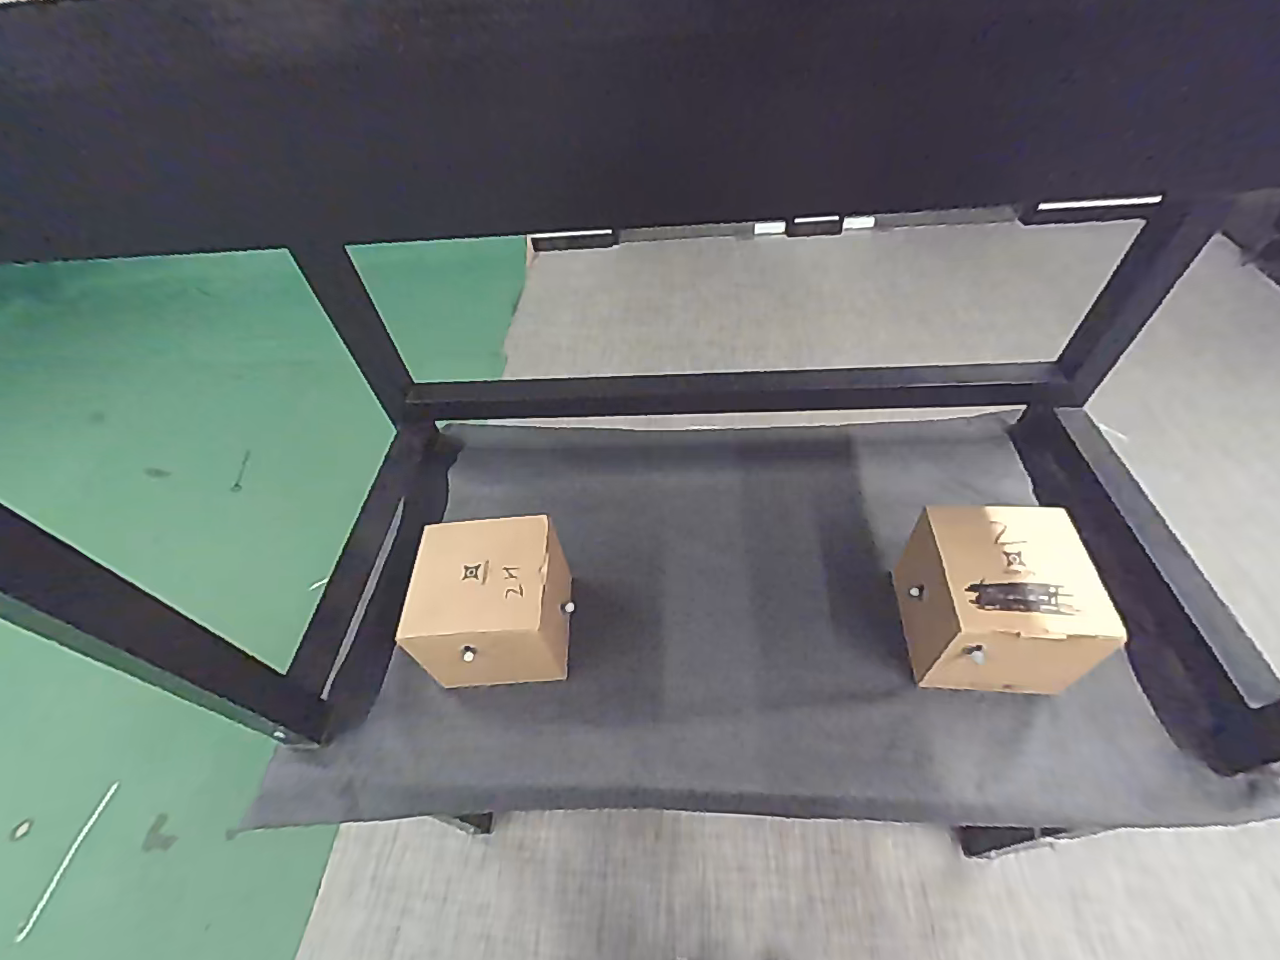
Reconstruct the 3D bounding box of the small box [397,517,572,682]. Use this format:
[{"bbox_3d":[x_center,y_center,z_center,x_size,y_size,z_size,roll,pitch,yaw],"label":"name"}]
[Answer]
[{"bbox_3d":[-0.199,0.170,0.750,0.179,0.176,0.168,-4,51,2],"label":"small box"}]
